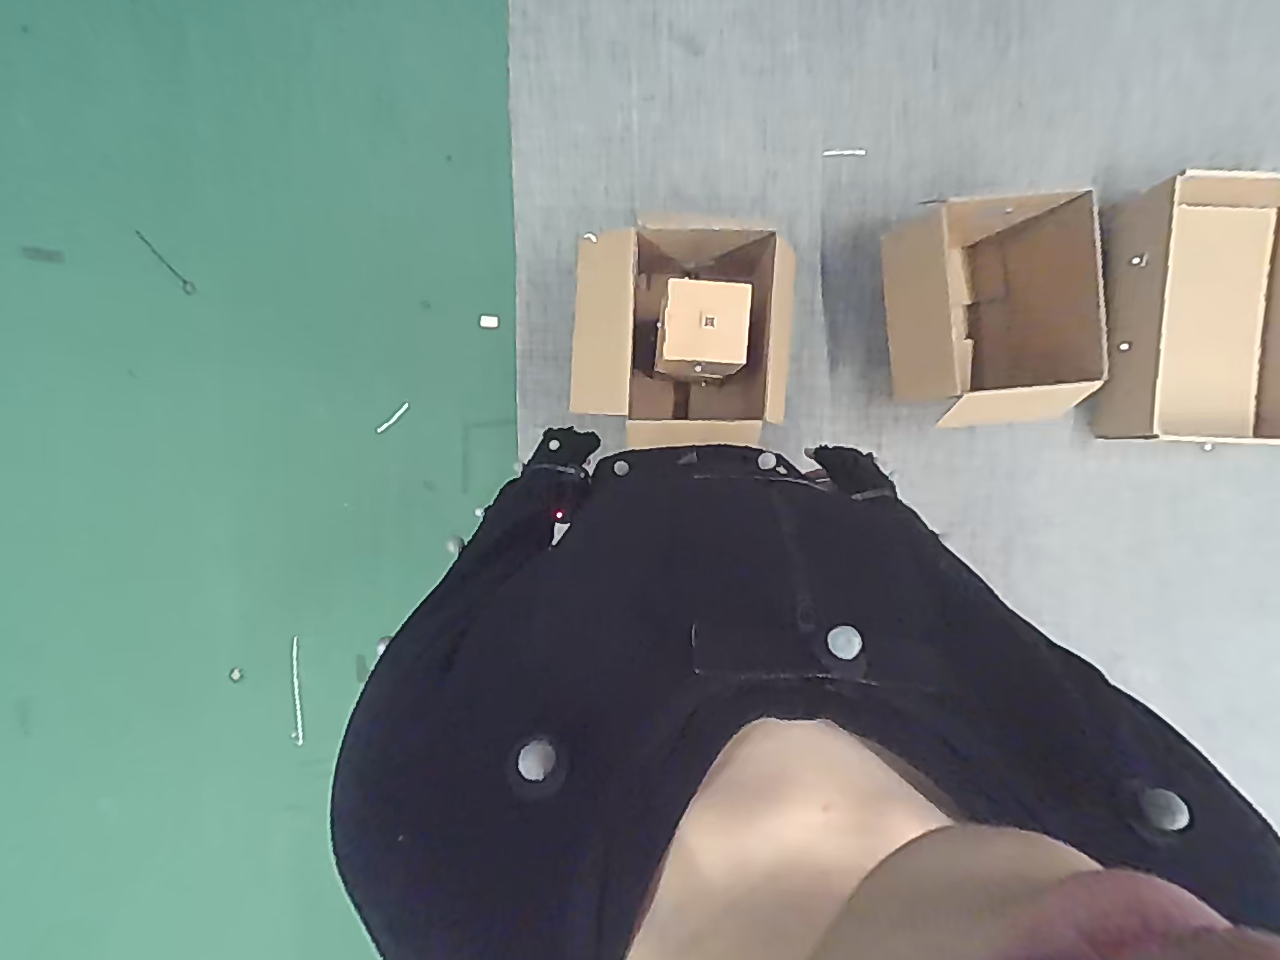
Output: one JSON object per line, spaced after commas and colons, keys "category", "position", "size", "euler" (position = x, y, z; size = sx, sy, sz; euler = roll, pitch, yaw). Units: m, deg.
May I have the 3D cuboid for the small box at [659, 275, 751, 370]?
{"category": "small box", "position": [0.137, -0.340, 1.194], "size": [0.179, 0.176, 0.168], "euler": [3, 93, 0]}
